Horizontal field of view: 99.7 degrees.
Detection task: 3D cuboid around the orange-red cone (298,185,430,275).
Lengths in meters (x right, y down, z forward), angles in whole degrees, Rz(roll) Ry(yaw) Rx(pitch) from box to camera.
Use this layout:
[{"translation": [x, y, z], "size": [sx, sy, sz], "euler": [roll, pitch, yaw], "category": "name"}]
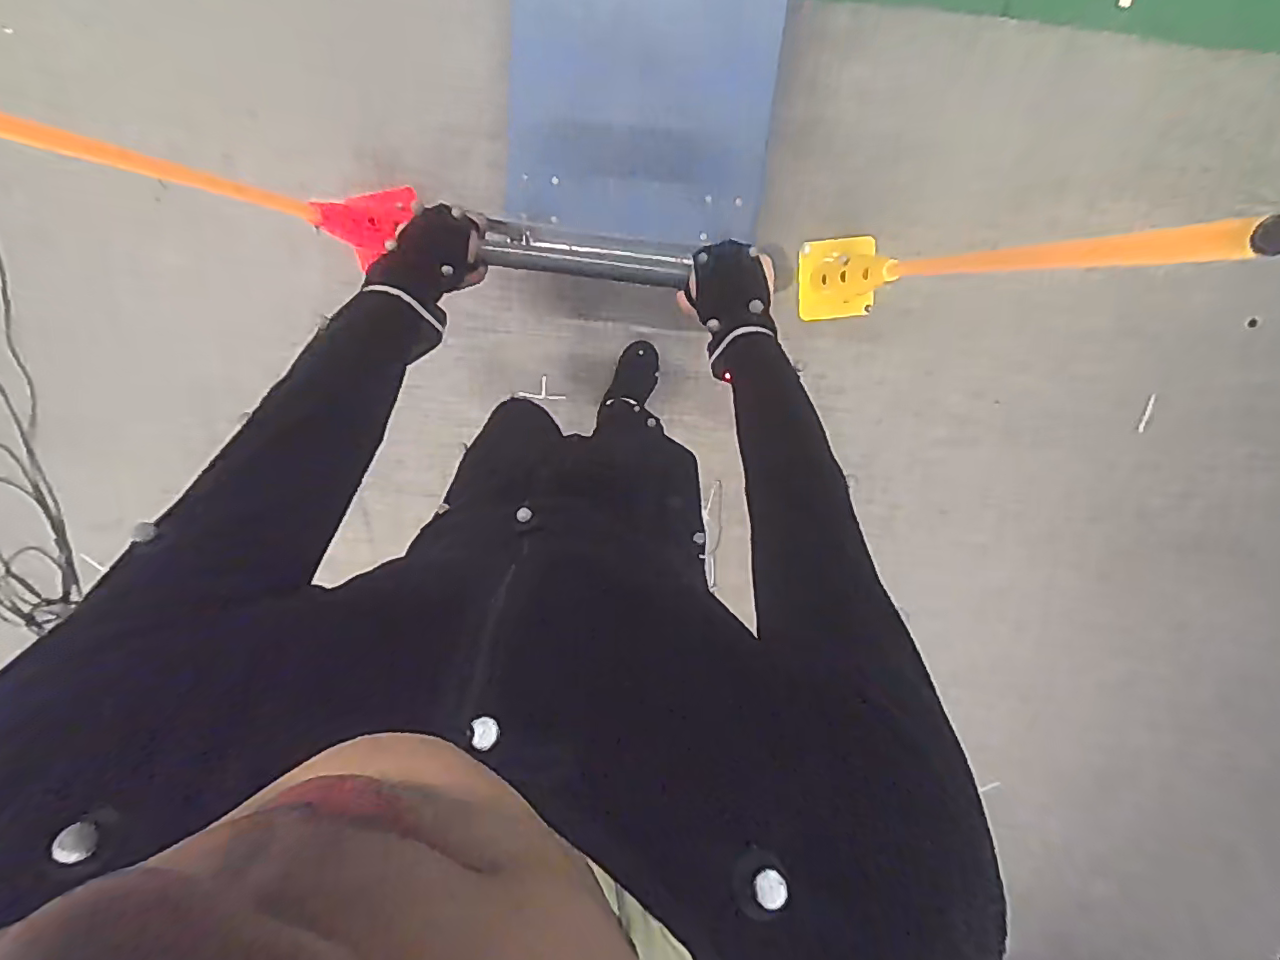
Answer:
[{"translation": [-0.659, -0.593, 1.238], "size": [0.199, 0.360, 0.198], "euler": [-8, 107, 4], "category": "orange-red cone"}]
